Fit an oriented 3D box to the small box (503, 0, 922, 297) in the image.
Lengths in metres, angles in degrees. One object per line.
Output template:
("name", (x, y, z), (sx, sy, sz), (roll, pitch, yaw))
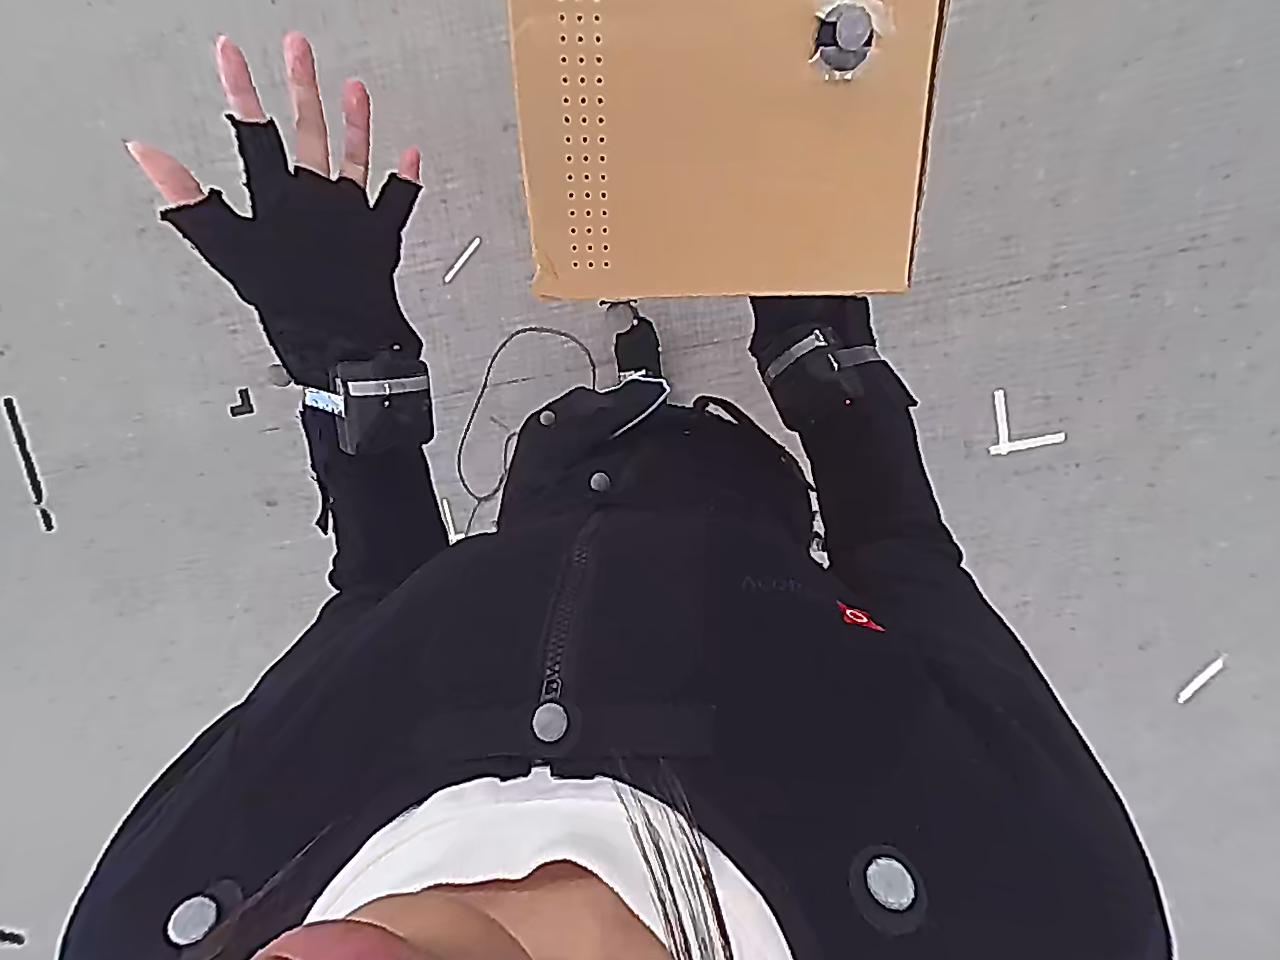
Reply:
("small box", (0.021, -0.194, 0.289), (0.176, 0.168, 0.179), (-2, 109, -4))
